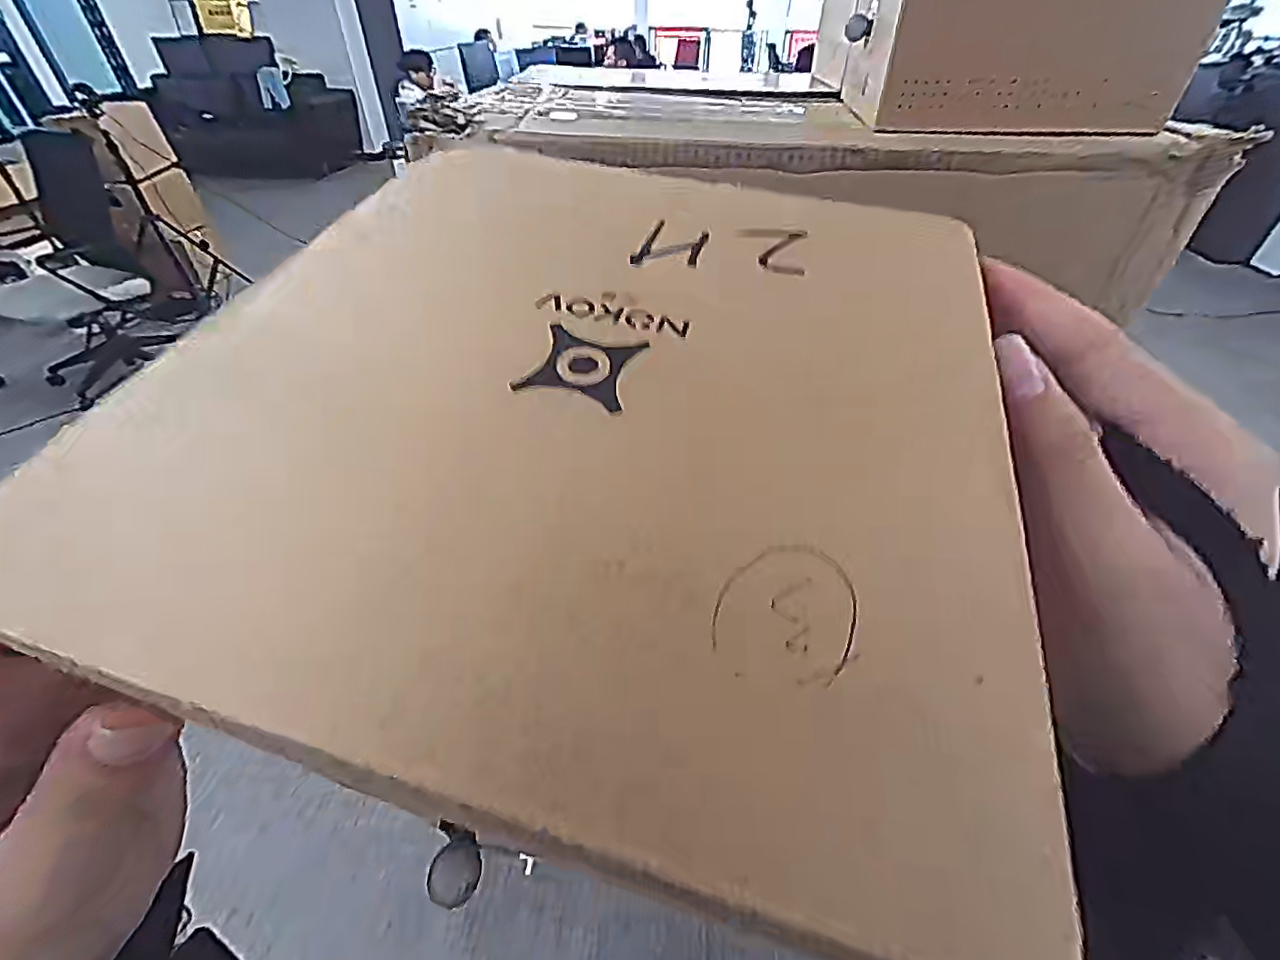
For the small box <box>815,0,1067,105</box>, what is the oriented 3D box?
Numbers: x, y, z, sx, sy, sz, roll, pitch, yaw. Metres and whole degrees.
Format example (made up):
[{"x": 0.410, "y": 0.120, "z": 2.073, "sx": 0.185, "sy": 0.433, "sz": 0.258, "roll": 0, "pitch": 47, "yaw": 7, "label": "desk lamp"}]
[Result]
[{"x": 0.266, "y": -0.445, "z": 0.486, "sx": 0.179, "sy": 0.176, "sz": 0.168, "roll": 3, "pitch": 40, "yaw": 3, "label": "small box"}]

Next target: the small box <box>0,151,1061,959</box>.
[{"x": -0.009, "y": 0.024, "z": 0.182, "sx": 0.168, "sy": 0.176, "sz": 0.179, "roll": 15, "pitch": 53, "yaw": 9, "label": "small box"}]
